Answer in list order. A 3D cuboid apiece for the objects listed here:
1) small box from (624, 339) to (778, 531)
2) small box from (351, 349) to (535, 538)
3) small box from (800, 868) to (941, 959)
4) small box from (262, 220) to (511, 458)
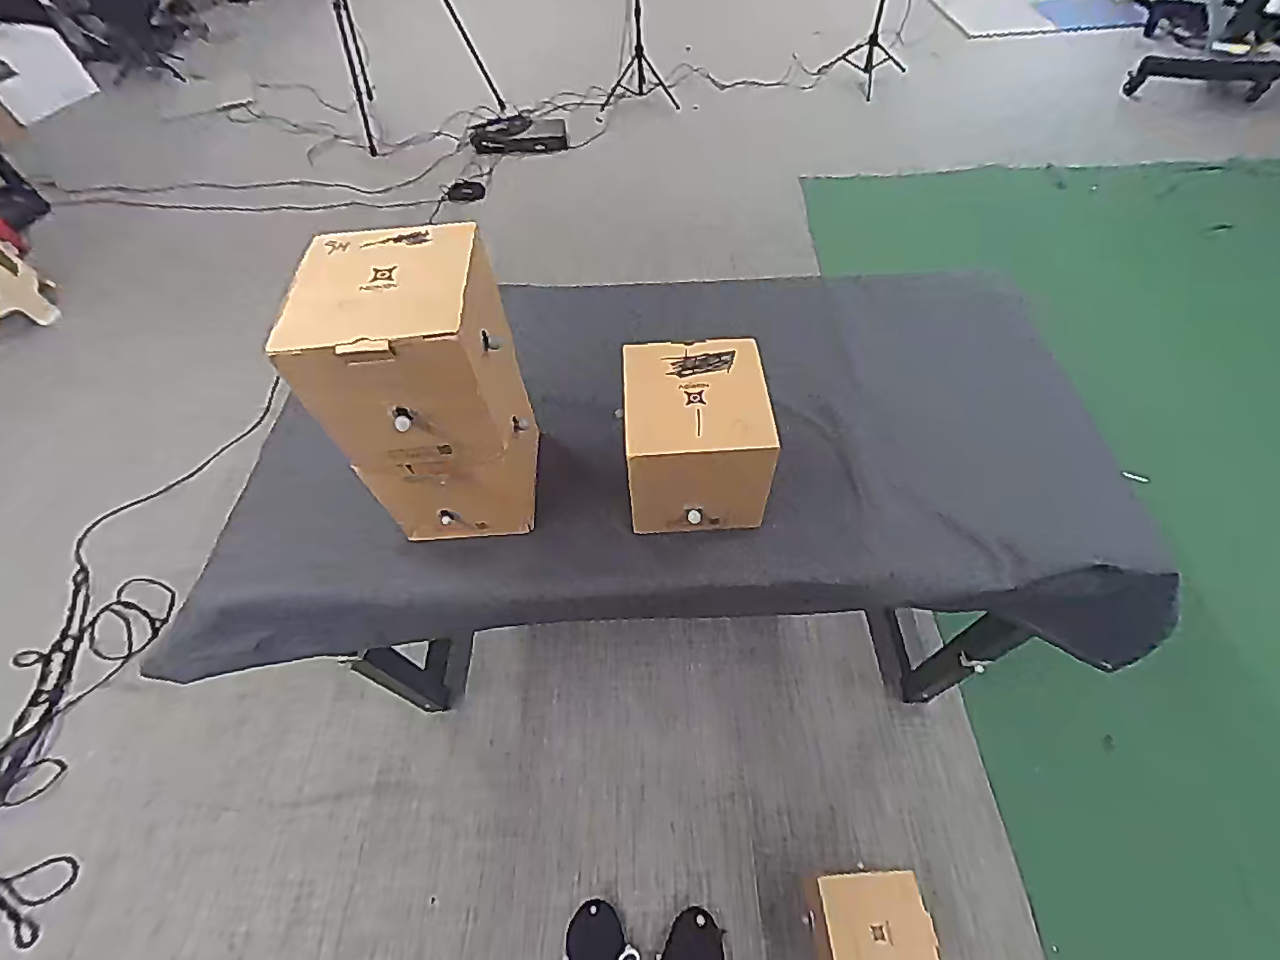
[{"bbox_3d":[0.065,-0.053,0.680,0.168,0.176,0.179,-3,55,1],"label":"small box"},{"bbox_3d":[-0.233,-0.044,0.694,0.168,0.176,0.179,-4,55,0],"label":"small box"},{"bbox_3d":[0.402,0.798,0.960,0.179,0.176,0.168,-5,54,0],"label":"small box"},{"bbox_3d":[-0.235,-0.135,0.558,0.168,0.176,0.179,-5,56,-1],"label":"small box"}]
